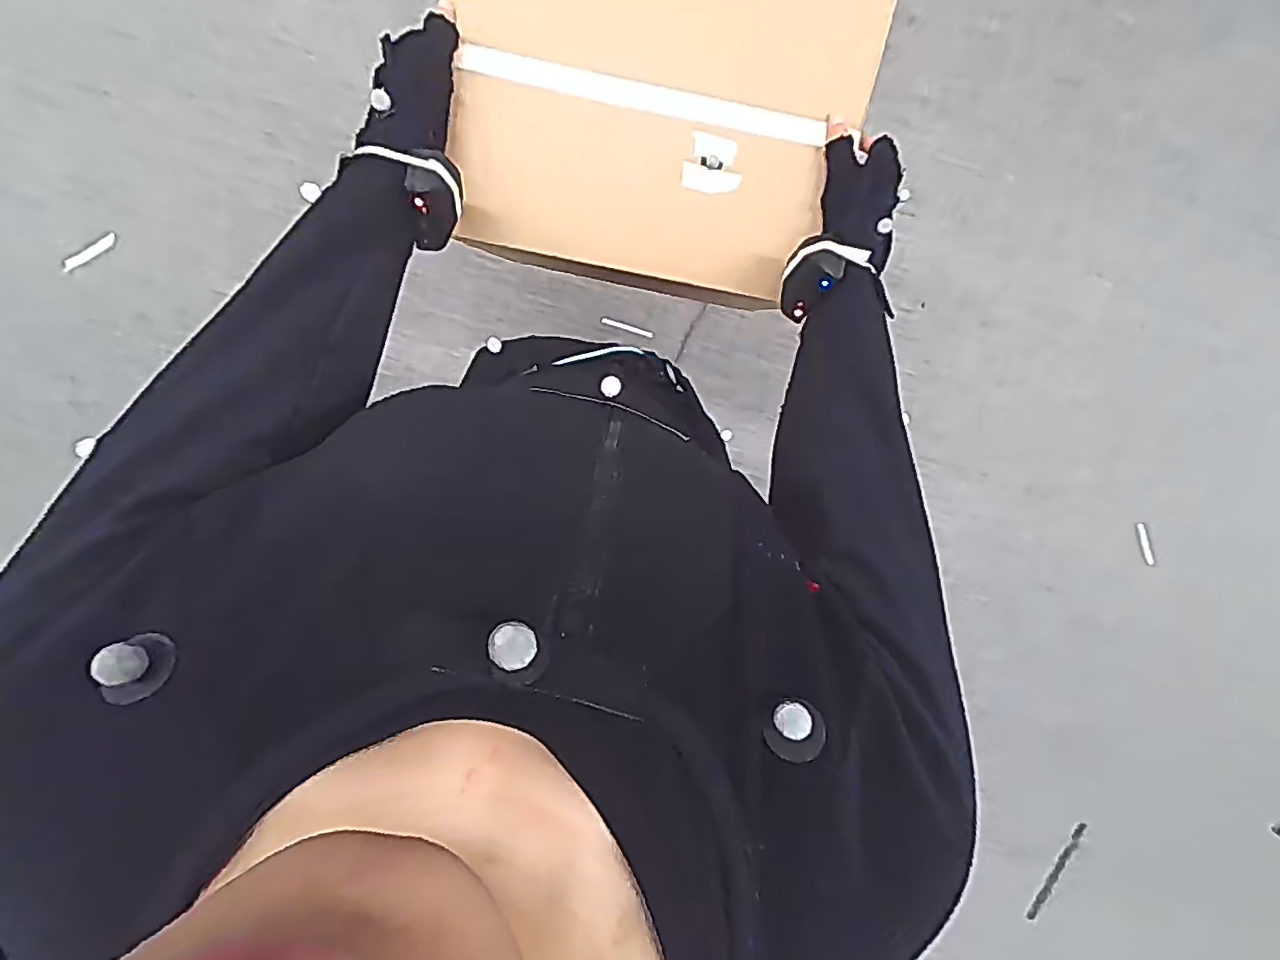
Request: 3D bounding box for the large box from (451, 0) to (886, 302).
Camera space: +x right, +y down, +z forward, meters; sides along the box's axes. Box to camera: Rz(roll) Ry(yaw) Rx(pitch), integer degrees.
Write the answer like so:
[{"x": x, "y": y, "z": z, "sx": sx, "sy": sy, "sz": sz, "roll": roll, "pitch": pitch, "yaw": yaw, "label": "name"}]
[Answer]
[{"x": 0.015, "y": -0.418, "z": 0.679, "sx": 0.408, "sy": 0.320, "sz": 0.320, "roll": 10, "pitch": 108, "yaw": -4, "label": "large box"}]
